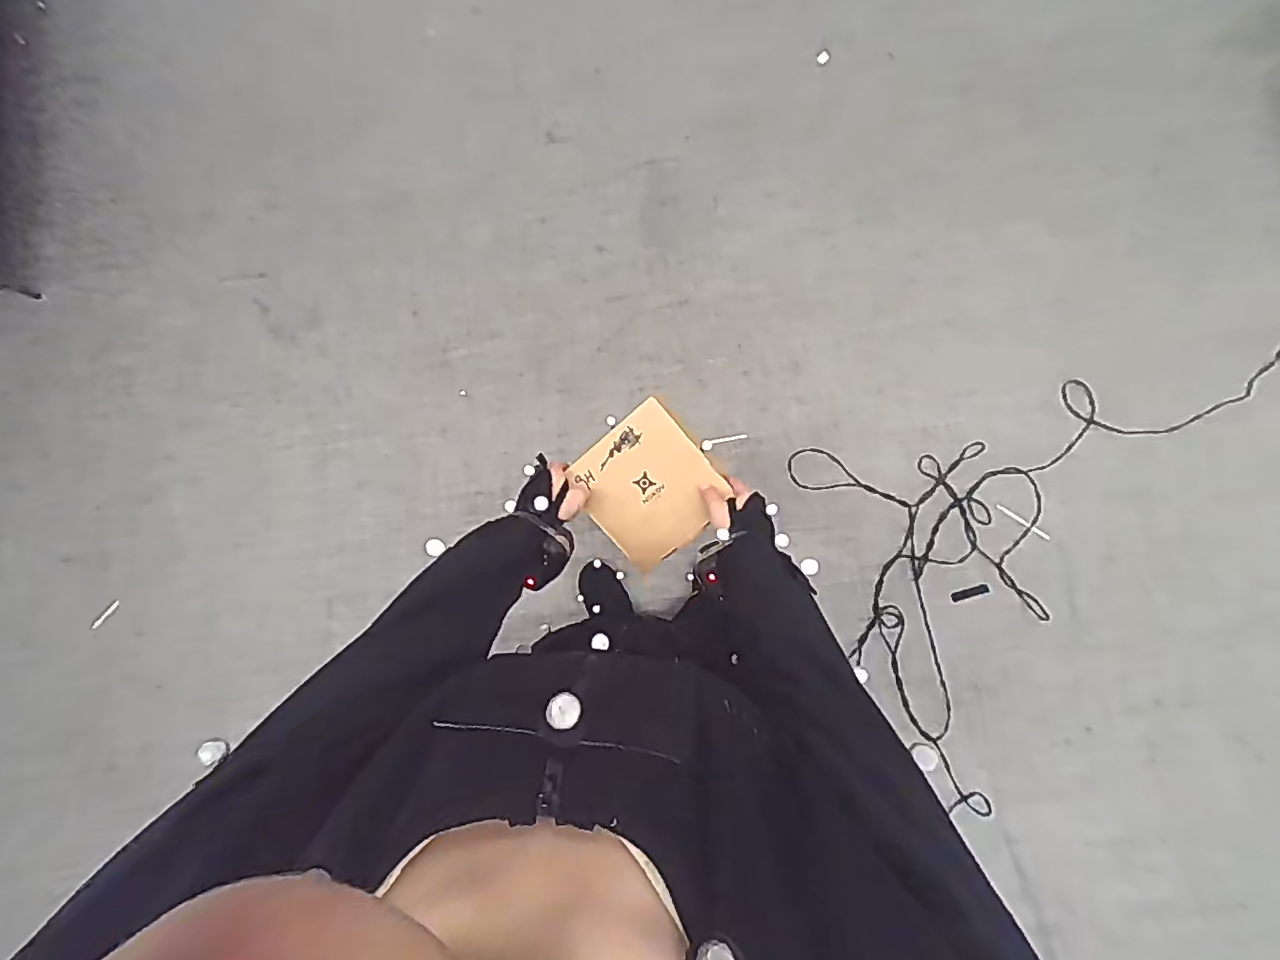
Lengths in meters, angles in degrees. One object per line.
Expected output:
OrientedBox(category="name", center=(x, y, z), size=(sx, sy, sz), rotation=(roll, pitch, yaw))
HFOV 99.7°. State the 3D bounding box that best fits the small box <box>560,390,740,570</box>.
OrientedBox(category="small box", center=(0.017, -0.011, 0.763), size=(0.168, 0.176, 0.179), rotation=(-40, 97, 11))
